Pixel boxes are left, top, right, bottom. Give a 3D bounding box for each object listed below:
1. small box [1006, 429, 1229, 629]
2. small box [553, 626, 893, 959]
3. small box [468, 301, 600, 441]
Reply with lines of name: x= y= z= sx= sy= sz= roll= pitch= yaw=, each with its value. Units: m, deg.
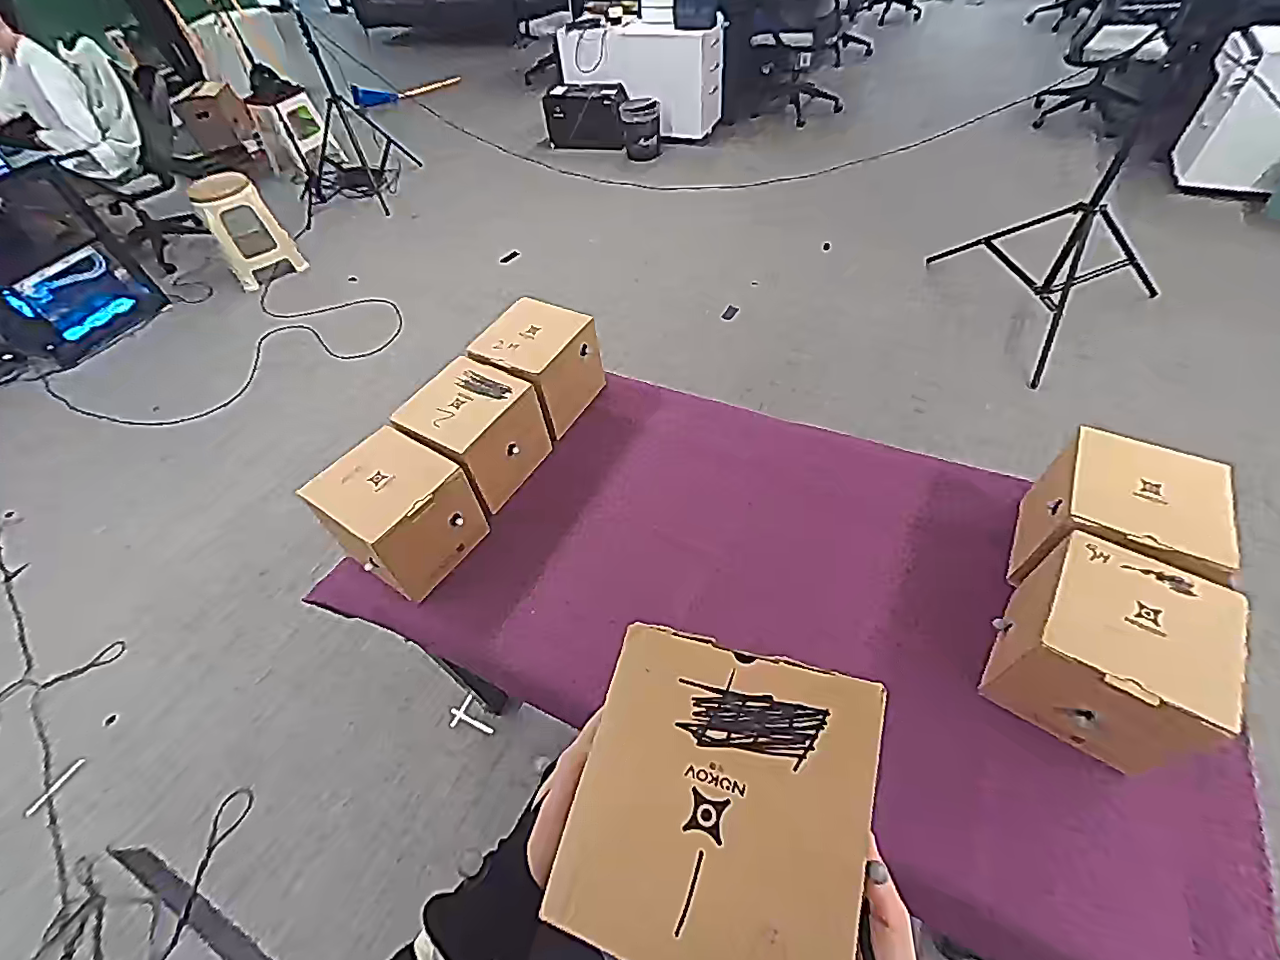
small box: x=0.632 y=0.068 z=0.737 sx=0.168 sy=0.176 sz=0.179 roll=22 pitch=56 yaw=21
small box: x=0.071 y=0.227 z=0.379 sx=0.168 sy=0.176 sz=0.179 roll=8 pitch=63 yaw=24
small box: x=-0.190 y=-0.209 z=1.036 sx=0.168 sy=0.176 sz=0.179 roll=22 pitch=57 yaw=21
